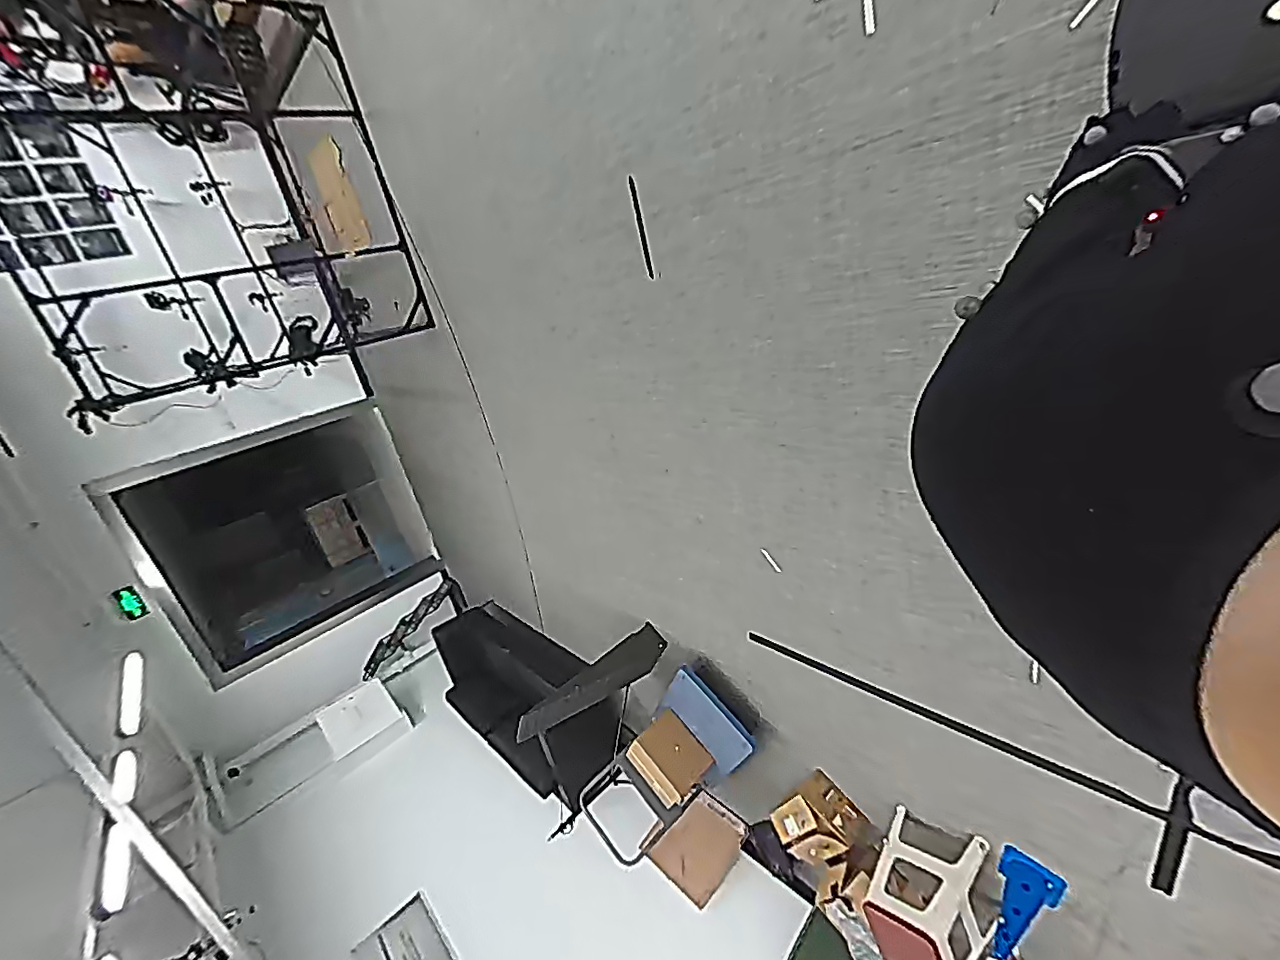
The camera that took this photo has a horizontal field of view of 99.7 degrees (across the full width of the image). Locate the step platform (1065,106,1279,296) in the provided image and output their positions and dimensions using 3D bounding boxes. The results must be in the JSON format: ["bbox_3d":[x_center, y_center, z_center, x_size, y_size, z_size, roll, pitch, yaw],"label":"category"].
[{"bbox_3d":[1.176,-0.513,0.942,0.684,0.204,0.286,11,122,49],"label":"step platform"}]
